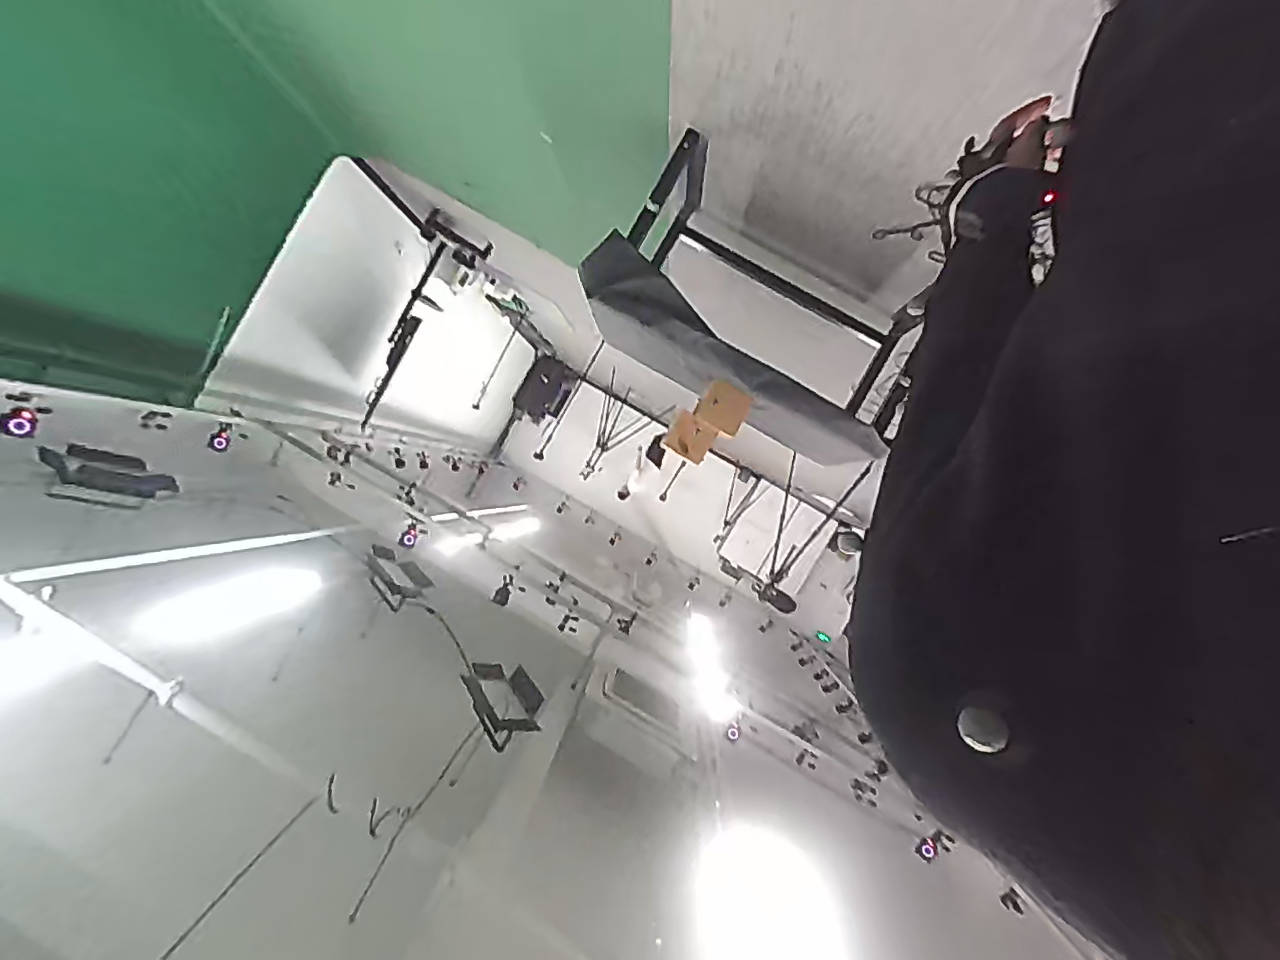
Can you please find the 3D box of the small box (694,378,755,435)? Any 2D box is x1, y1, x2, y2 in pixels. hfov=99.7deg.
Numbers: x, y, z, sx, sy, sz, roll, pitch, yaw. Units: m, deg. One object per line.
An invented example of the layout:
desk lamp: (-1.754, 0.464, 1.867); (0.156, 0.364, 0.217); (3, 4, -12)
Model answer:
small box: (0.329, -0.295, 2.152); (0.179, 0.176, 0.168); (29, -177, -4)

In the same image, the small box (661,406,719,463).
small box: (0.200, -0.184, 2.181); (0.168, 0.176, 0.179); (31, -179, -3)
